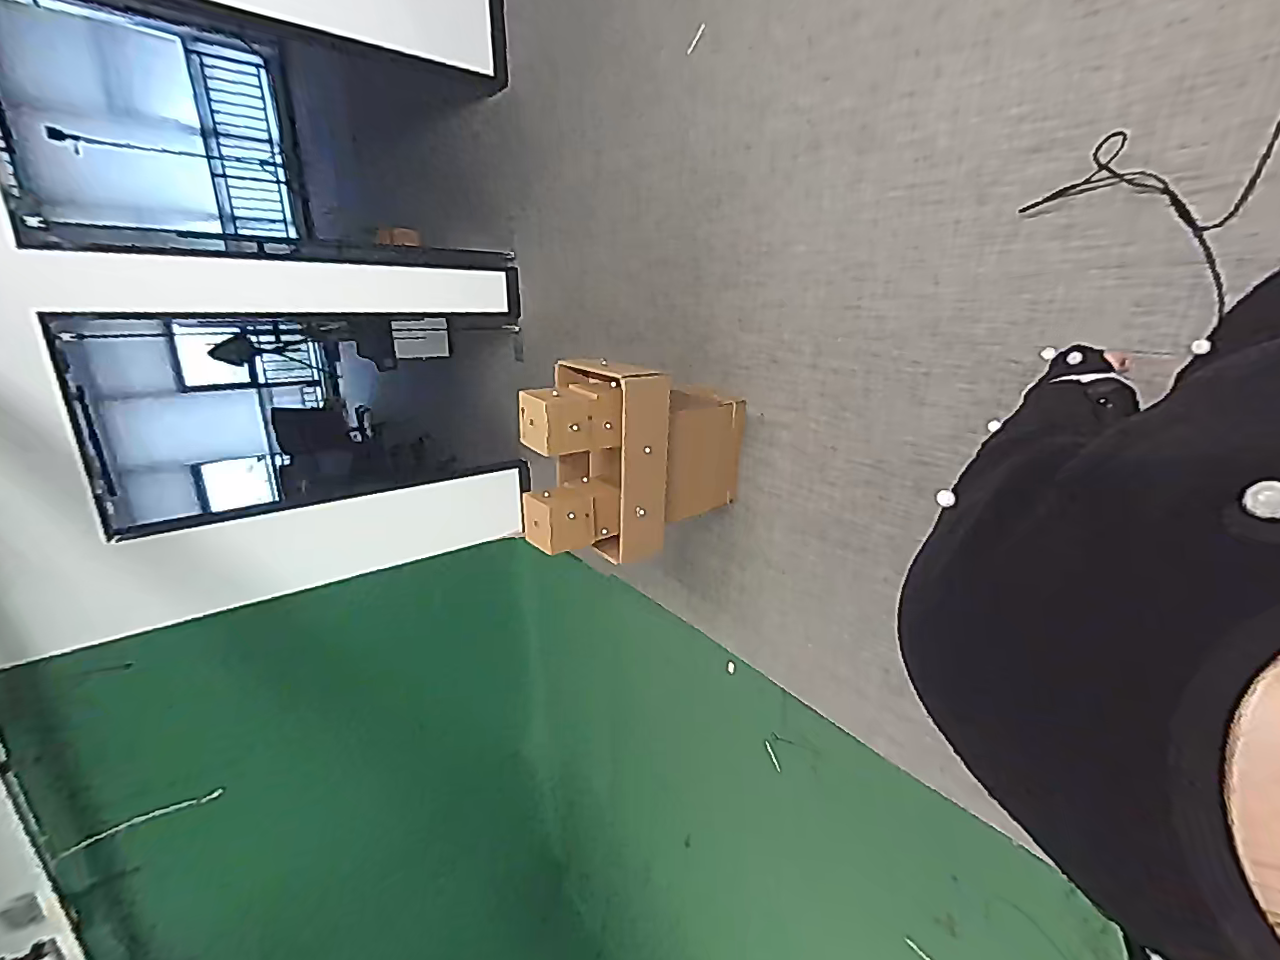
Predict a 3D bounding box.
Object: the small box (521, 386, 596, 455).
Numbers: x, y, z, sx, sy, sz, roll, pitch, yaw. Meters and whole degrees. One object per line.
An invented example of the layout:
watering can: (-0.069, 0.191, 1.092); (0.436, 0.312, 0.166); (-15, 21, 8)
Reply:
small box: (-0.248, -0.190, 1.664); (0.179, 0.176, 0.168); (27, 121, 46)

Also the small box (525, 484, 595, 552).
small box: (-0.257, 0.117, 1.774); (0.179, 0.176, 0.168); (20, 115, 50)
